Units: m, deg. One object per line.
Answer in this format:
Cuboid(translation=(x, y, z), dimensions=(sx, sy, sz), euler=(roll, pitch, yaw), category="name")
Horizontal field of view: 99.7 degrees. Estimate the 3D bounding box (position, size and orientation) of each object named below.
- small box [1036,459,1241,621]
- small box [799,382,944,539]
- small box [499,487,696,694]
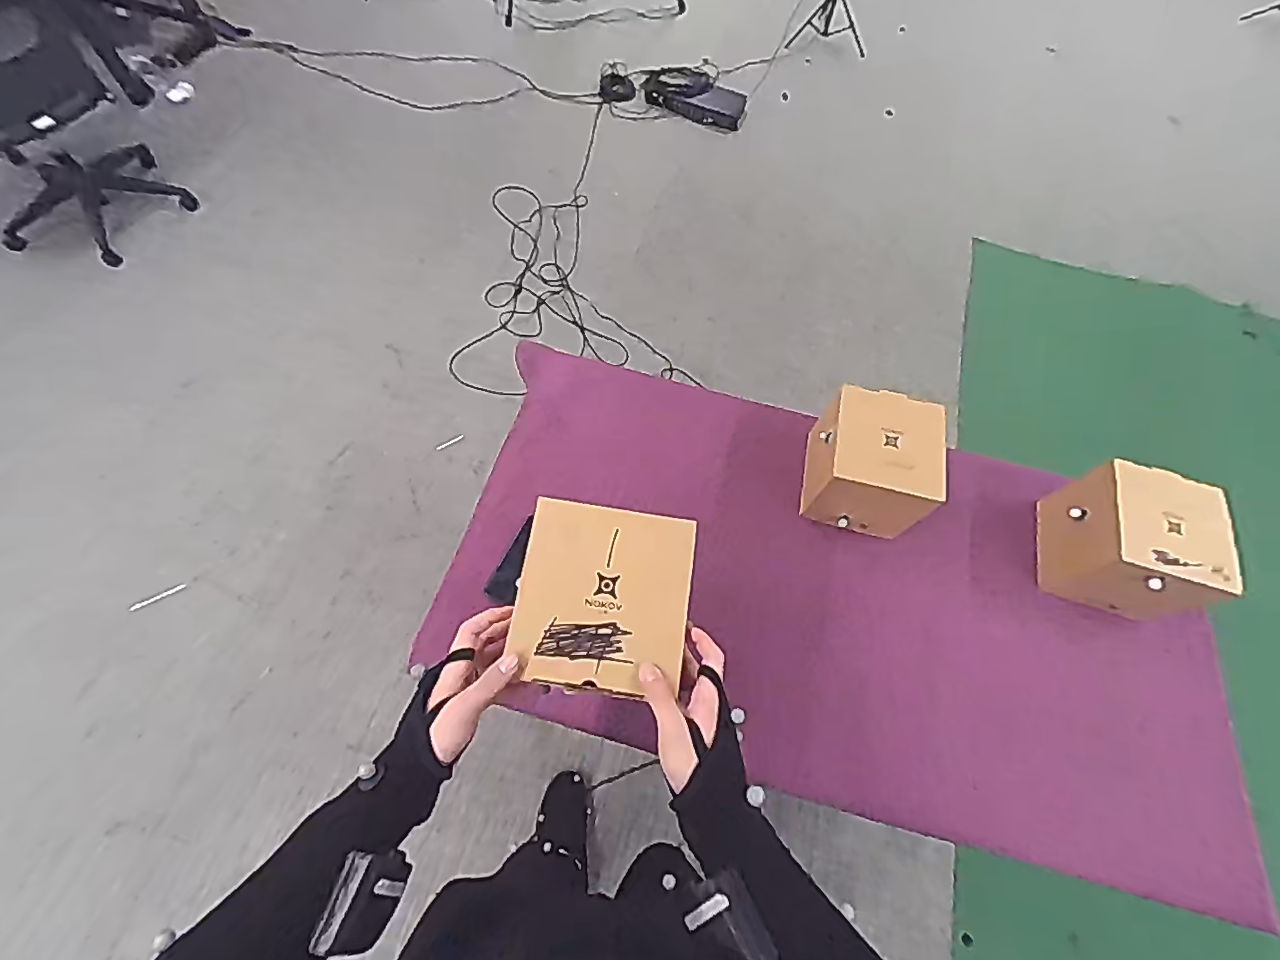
Cuboid(translation=(0.763, 0.100, 0.853), dimensions=(0.168, 0.176, 0.179), euler=(17, 63, 6), category="small box")
Cuboid(translation=(0.374, -0.026, 0.890), dimensions=(0.168, 0.176, 0.179), euler=(14, 64, 4), category="small box")
Cuboid(translation=(-0.041, 0.128, 0.593), dimensions=(0.168, 0.176, 0.179), euler=(10, 69, -1), category="small box")
